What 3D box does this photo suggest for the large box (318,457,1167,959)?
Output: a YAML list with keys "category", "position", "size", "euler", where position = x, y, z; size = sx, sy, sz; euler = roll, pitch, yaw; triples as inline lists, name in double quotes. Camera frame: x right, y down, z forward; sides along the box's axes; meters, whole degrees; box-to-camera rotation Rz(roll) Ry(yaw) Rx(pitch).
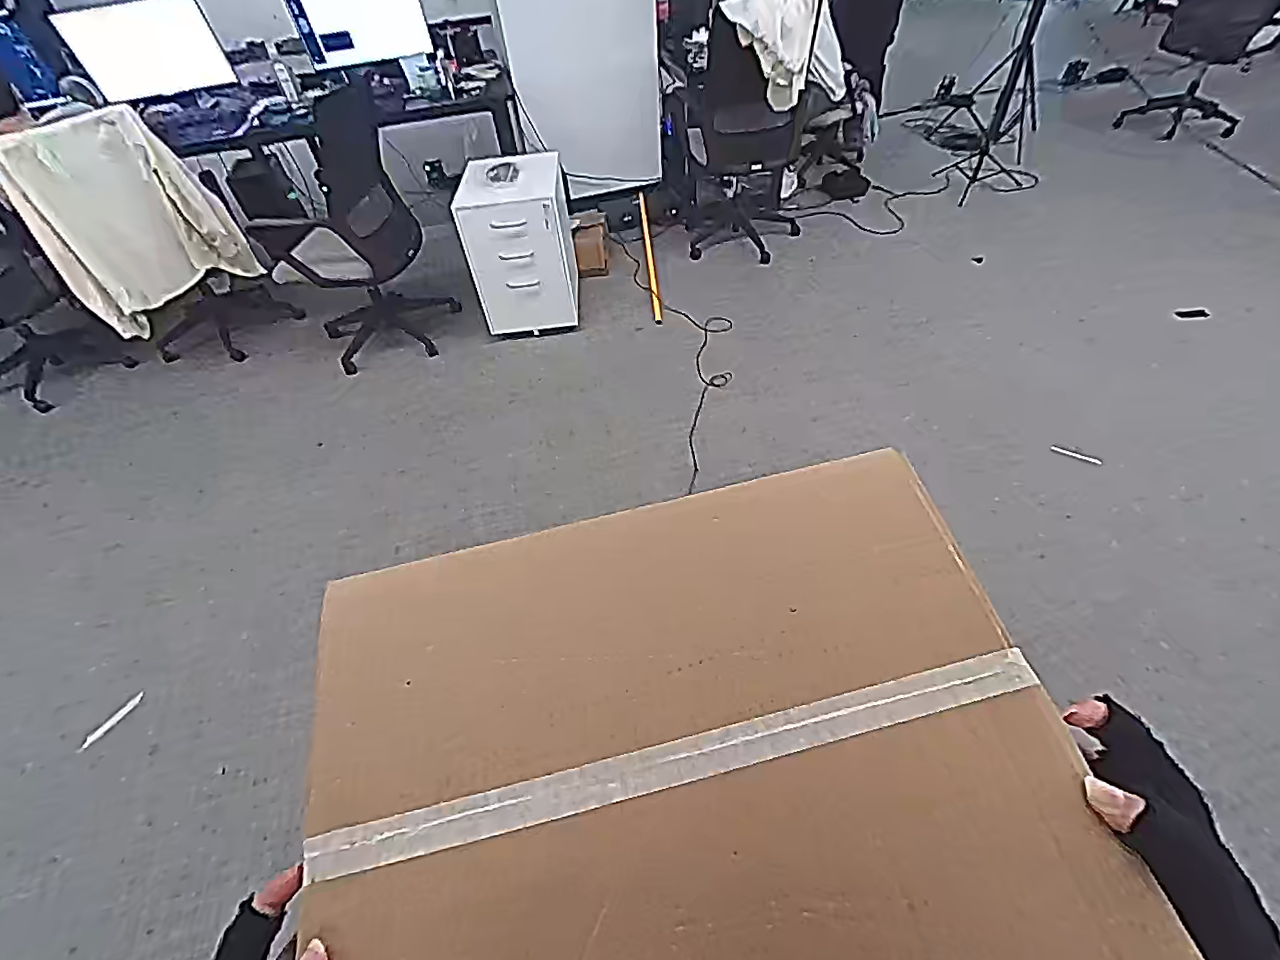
- category: "large box"
  position: [0.033, 0.230, 0.436]
  size: [0.408, 0.320, 0.320]
  euler: [-14, 59, -3]
